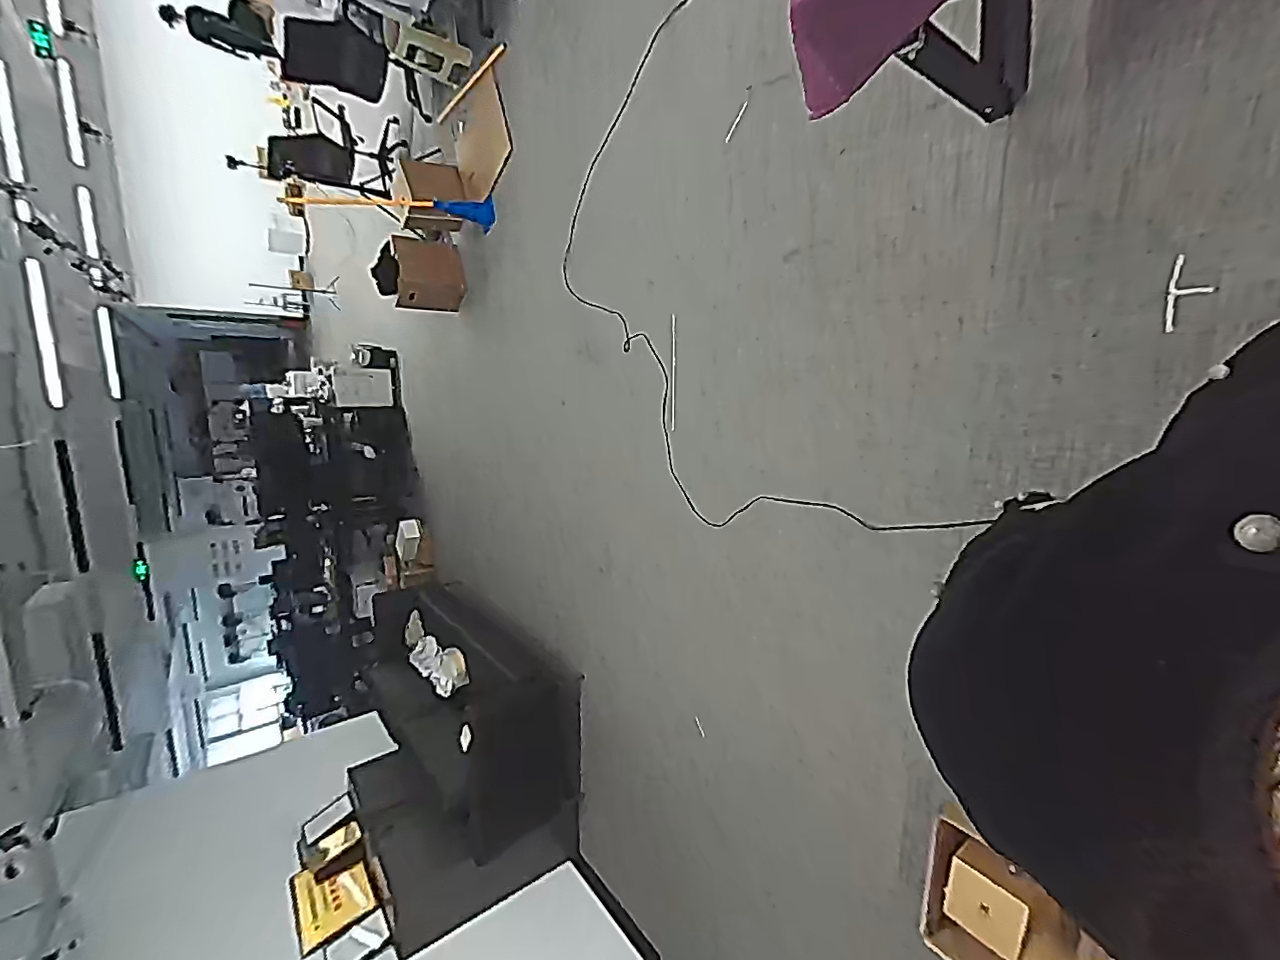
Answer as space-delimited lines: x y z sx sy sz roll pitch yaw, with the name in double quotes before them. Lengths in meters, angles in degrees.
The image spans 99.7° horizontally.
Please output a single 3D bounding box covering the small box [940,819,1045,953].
"small box" 0.891 1.009 1.364 0.168 0.176 0.179 17 110 50
